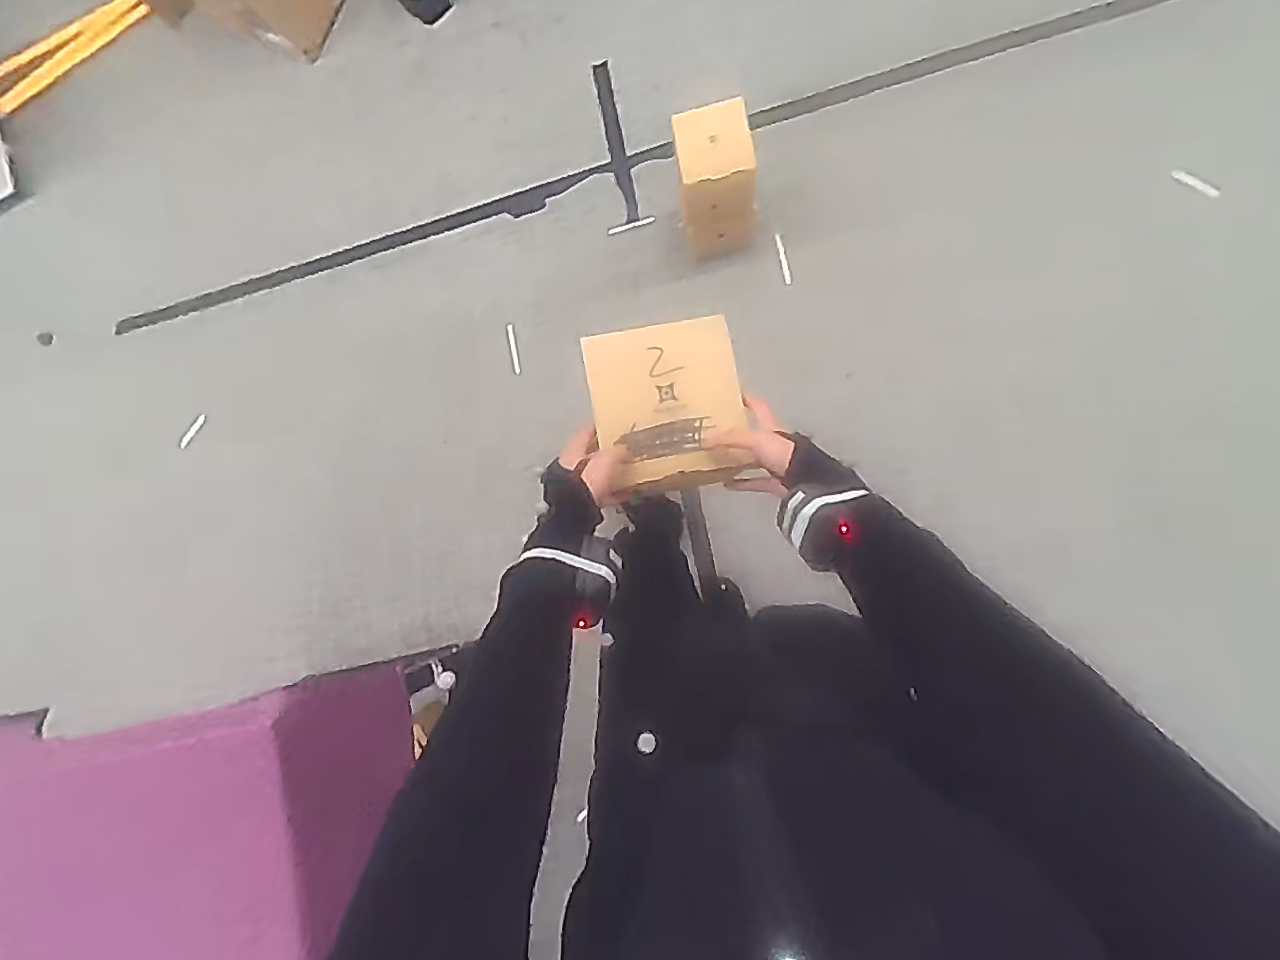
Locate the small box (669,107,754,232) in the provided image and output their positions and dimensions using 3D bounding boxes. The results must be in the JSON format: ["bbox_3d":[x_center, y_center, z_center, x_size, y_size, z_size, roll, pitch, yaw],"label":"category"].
[{"bbox_3d":[0.169,-0.732,1.289,0.168,0.176,0.179,-11,84,7],"label":"small box"}]
